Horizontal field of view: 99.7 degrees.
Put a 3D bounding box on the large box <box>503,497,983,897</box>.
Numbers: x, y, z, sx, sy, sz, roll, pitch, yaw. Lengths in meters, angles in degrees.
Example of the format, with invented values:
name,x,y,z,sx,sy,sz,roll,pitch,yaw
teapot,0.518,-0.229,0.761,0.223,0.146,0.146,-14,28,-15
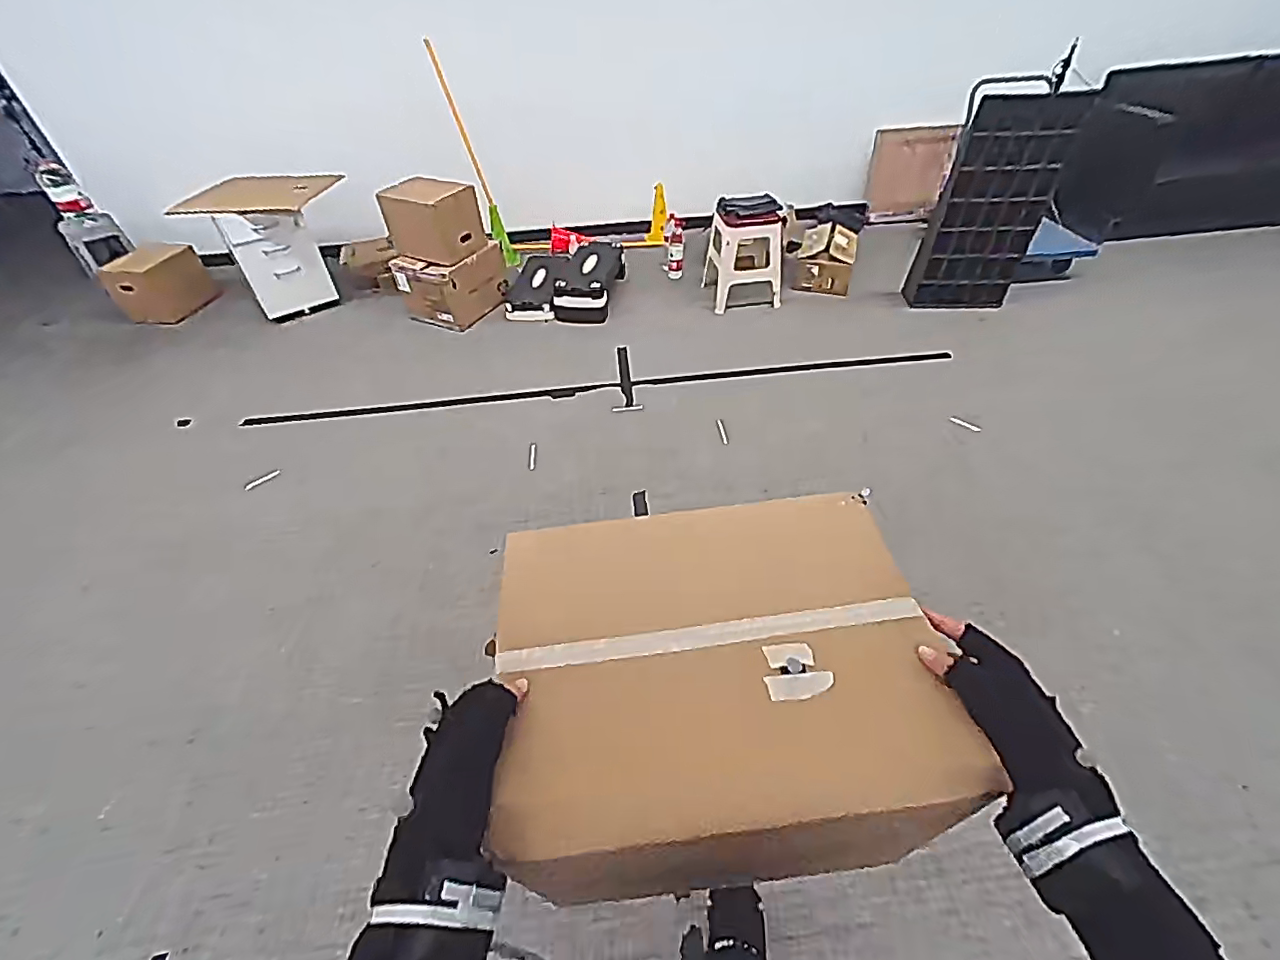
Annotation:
name,x,y,z,sx,sy,sz,roll,pitch,yaw
large box,0.076,0.256,0.641,0.408,0.320,0.320,-7,47,-2
